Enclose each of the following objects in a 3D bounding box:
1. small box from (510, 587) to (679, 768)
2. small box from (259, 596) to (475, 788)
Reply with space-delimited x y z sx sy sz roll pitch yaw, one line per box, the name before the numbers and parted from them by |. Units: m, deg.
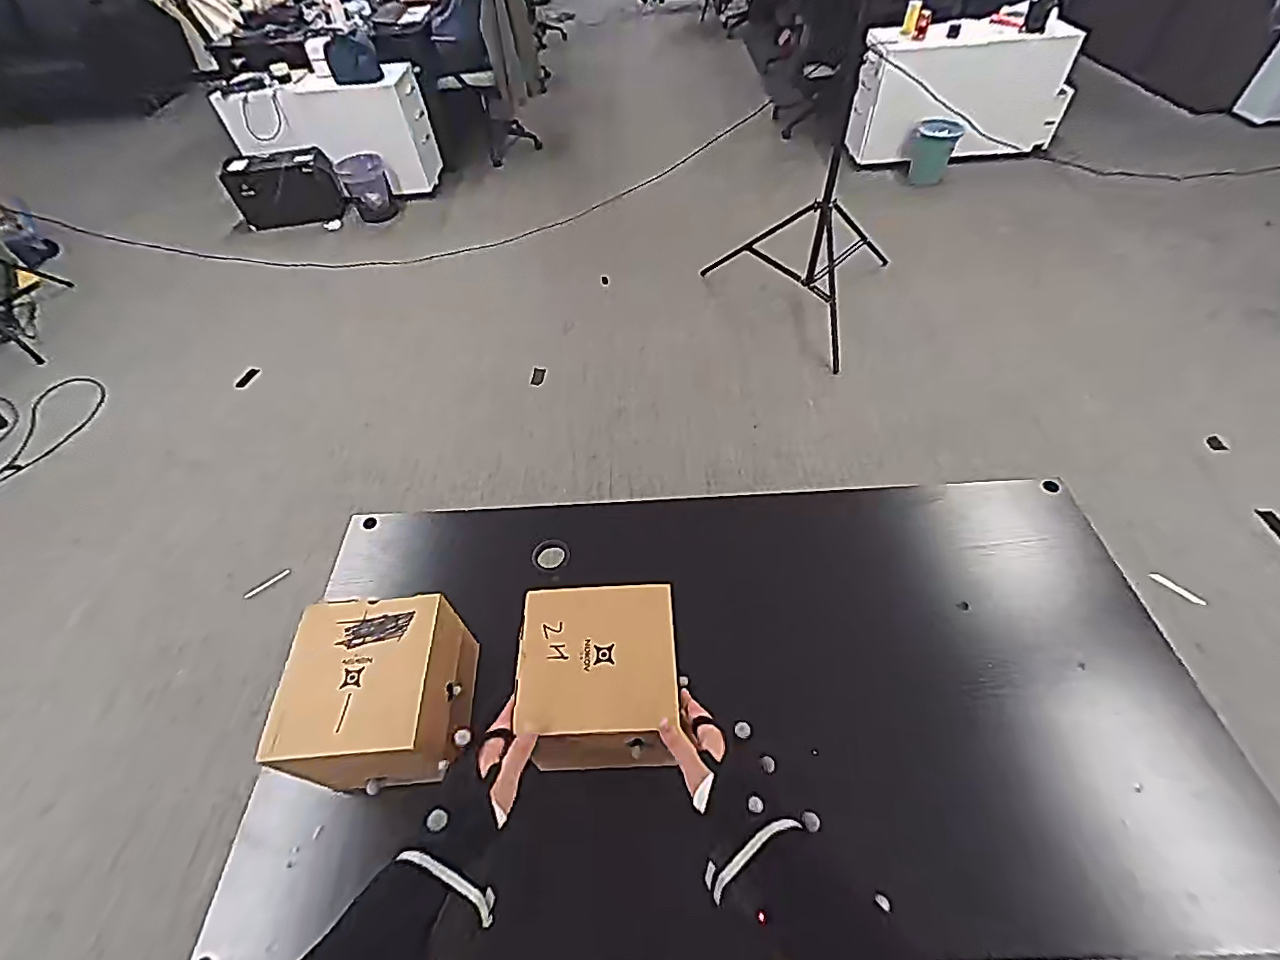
small box | -0.045 0.246 0.665 0.179 0.176 0.168 -3 51 1
small box | -0.313 0.264 0.669 0.168 0.176 0.179 -5 52 0
